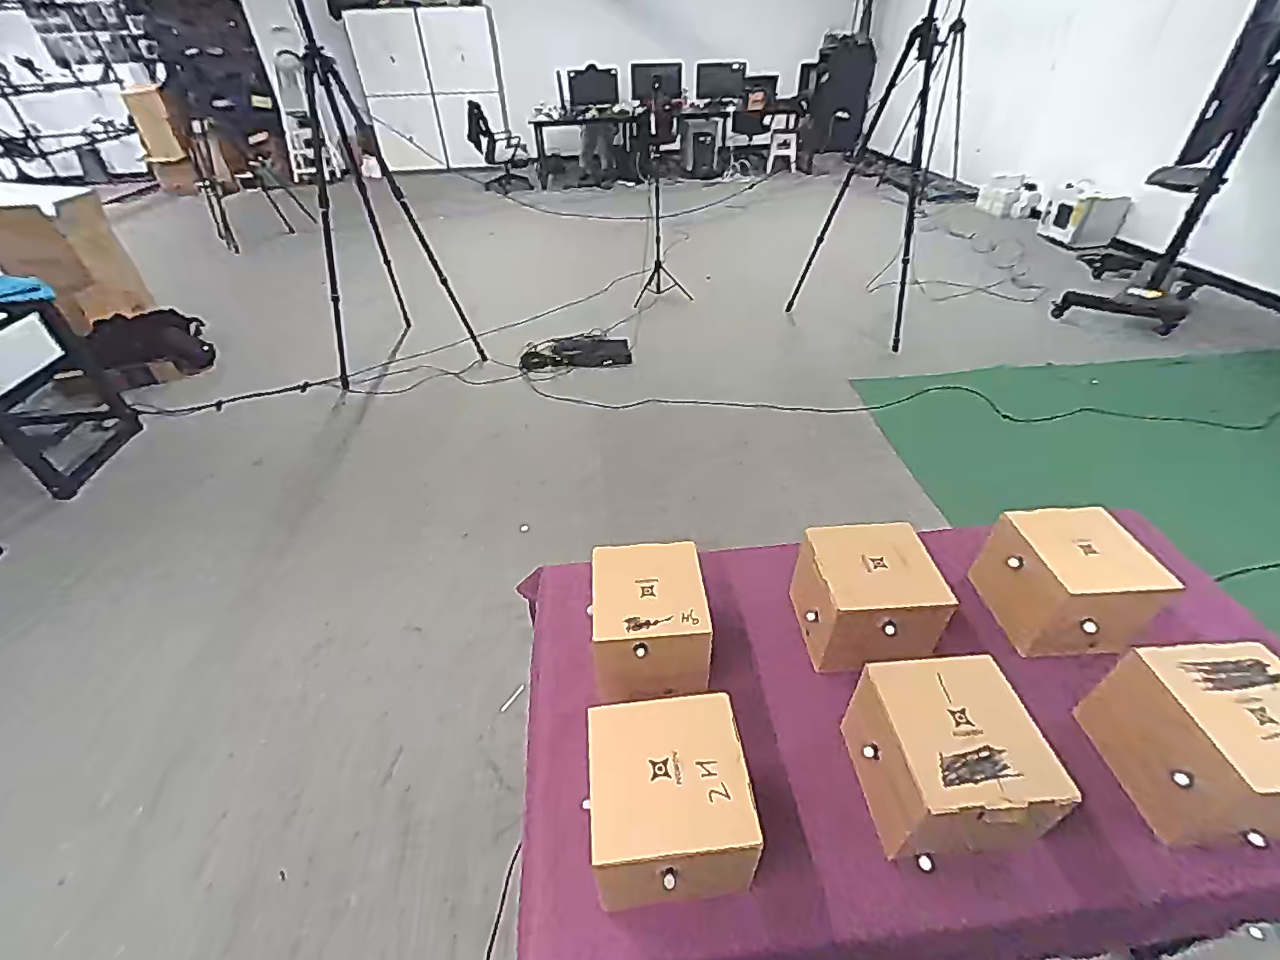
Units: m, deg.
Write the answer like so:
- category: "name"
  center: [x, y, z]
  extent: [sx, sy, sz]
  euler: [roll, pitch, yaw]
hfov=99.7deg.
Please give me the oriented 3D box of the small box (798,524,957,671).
- category: "small box"
  center: [0.361, 0.190, 0.867]
  extent: [0.179, 0.176, 0.168]
  euler: [-3, 40, 0]

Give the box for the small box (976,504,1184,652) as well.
- category: "small box"
  center: [0.688, 0.163, 0.875]
  extent: [0.168, 0.176, 0.179]
  euler: [-4, 38, 0]

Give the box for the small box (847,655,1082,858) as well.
- category: "small box"
  center: [0.378, 0.345, 0.672]
  extent: [0.168, 0.176, 0.179]
  euler: [-4, 38, -1]

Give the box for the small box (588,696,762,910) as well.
- category: "small box"
  center: [0.035, 0.386, 0.647]
  extent: [0.179, 0.176, 0.168]
  euler: [-5, 39, -3]

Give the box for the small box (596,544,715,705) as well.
- category: "small box"
  center: [0.018, 0.225, 0.848]
  extent: [0.168, 0.176, 0.179]
  euler: [-4, 39, -2]
